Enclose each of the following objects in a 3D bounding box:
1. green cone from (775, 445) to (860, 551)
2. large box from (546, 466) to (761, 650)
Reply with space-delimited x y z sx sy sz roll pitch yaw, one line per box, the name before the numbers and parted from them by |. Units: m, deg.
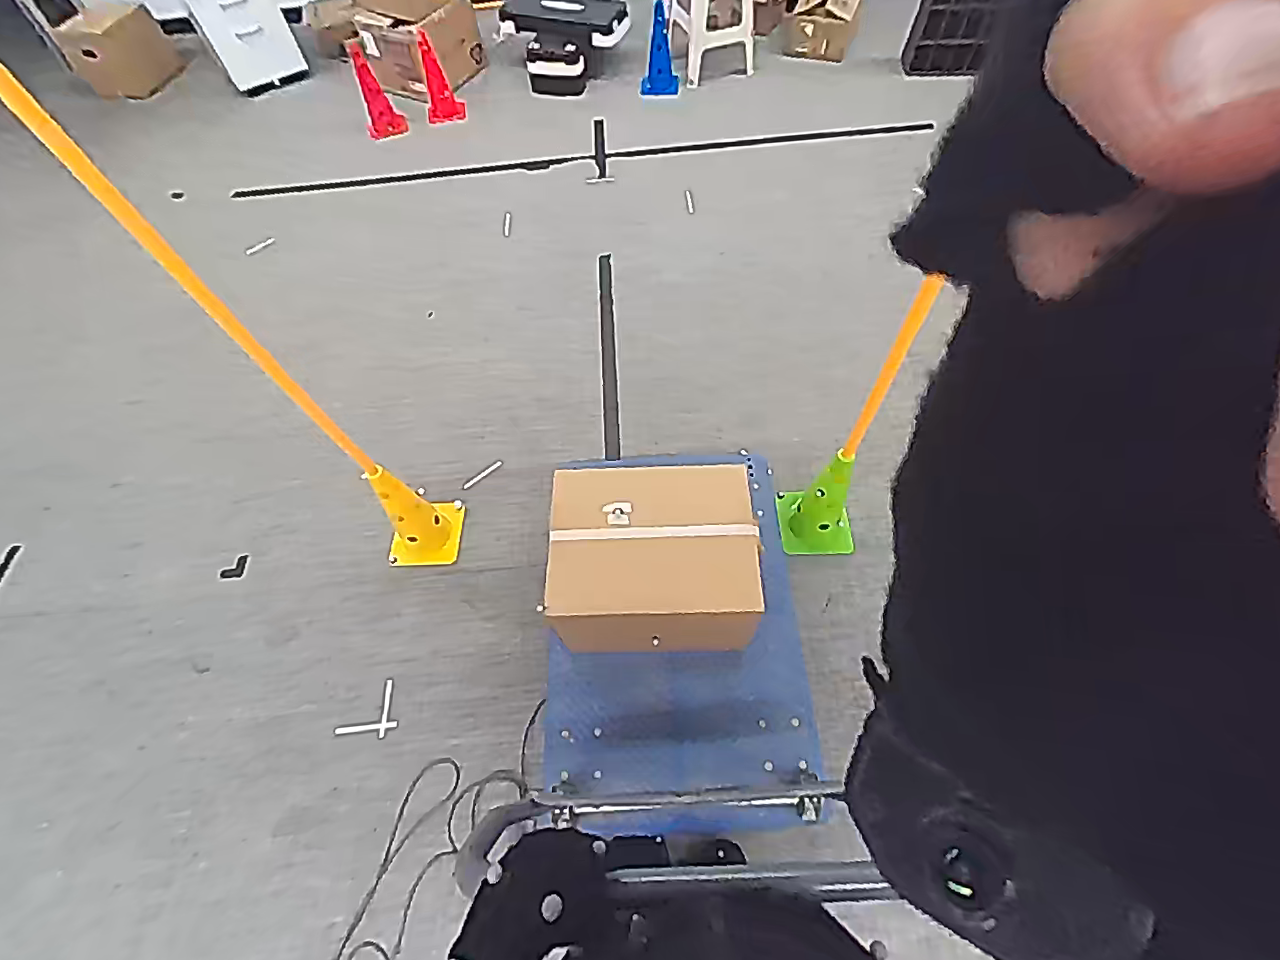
green cone | 0.496 0.027 1.421 0.202 0.368 0.200 -1 60 1
large box | 0.031 0.184 1.191 0.408 0.320 0.320 -2 60 3
